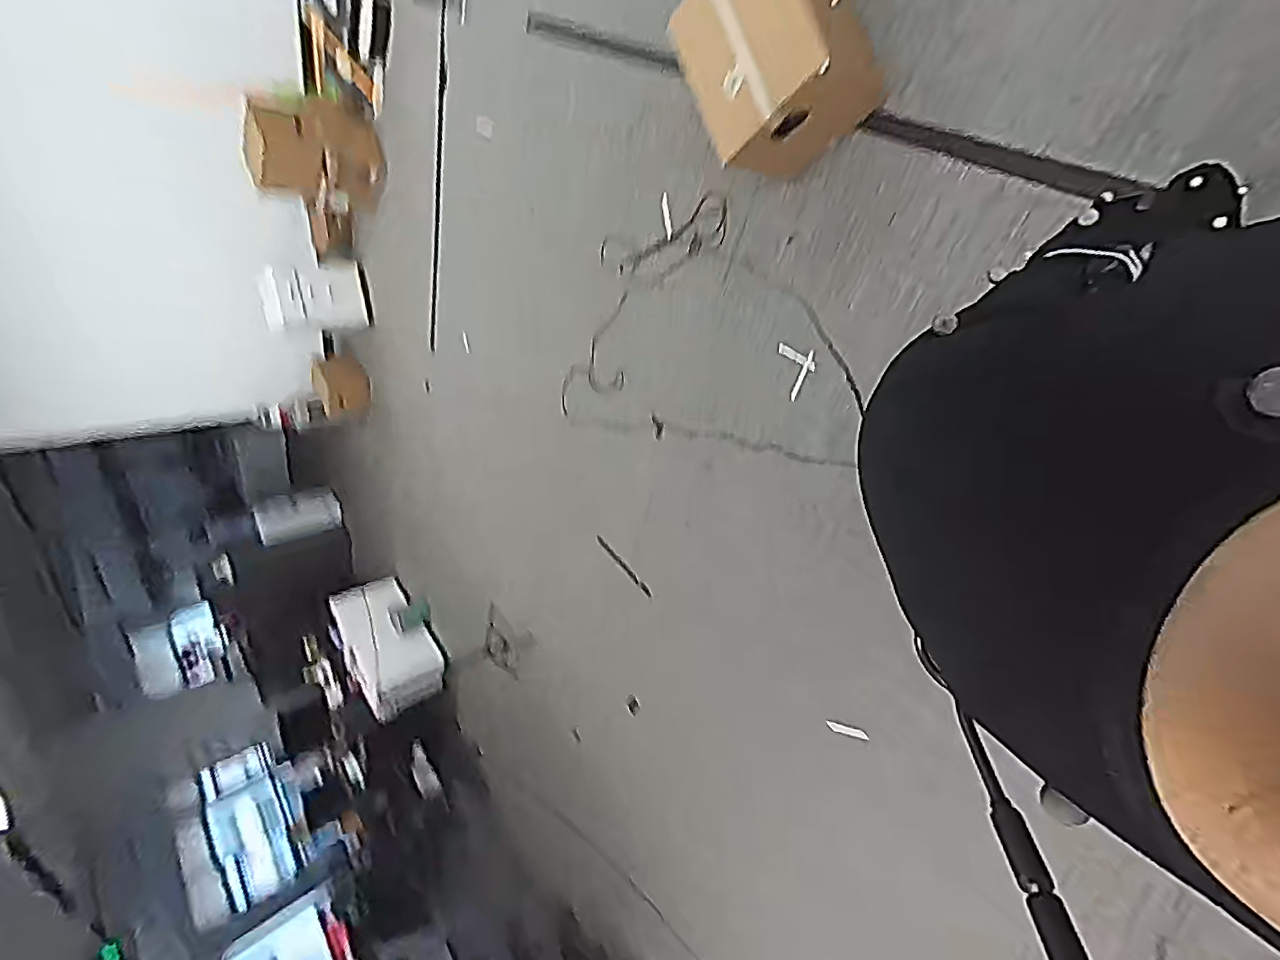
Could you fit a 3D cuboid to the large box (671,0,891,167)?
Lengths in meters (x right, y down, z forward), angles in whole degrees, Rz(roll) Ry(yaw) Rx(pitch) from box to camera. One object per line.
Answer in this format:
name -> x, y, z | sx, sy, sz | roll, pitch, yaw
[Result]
large box -> 0.343, -1.066, 1.322 | 0.320, 0.320, 0.408 | -23, 87, 49
